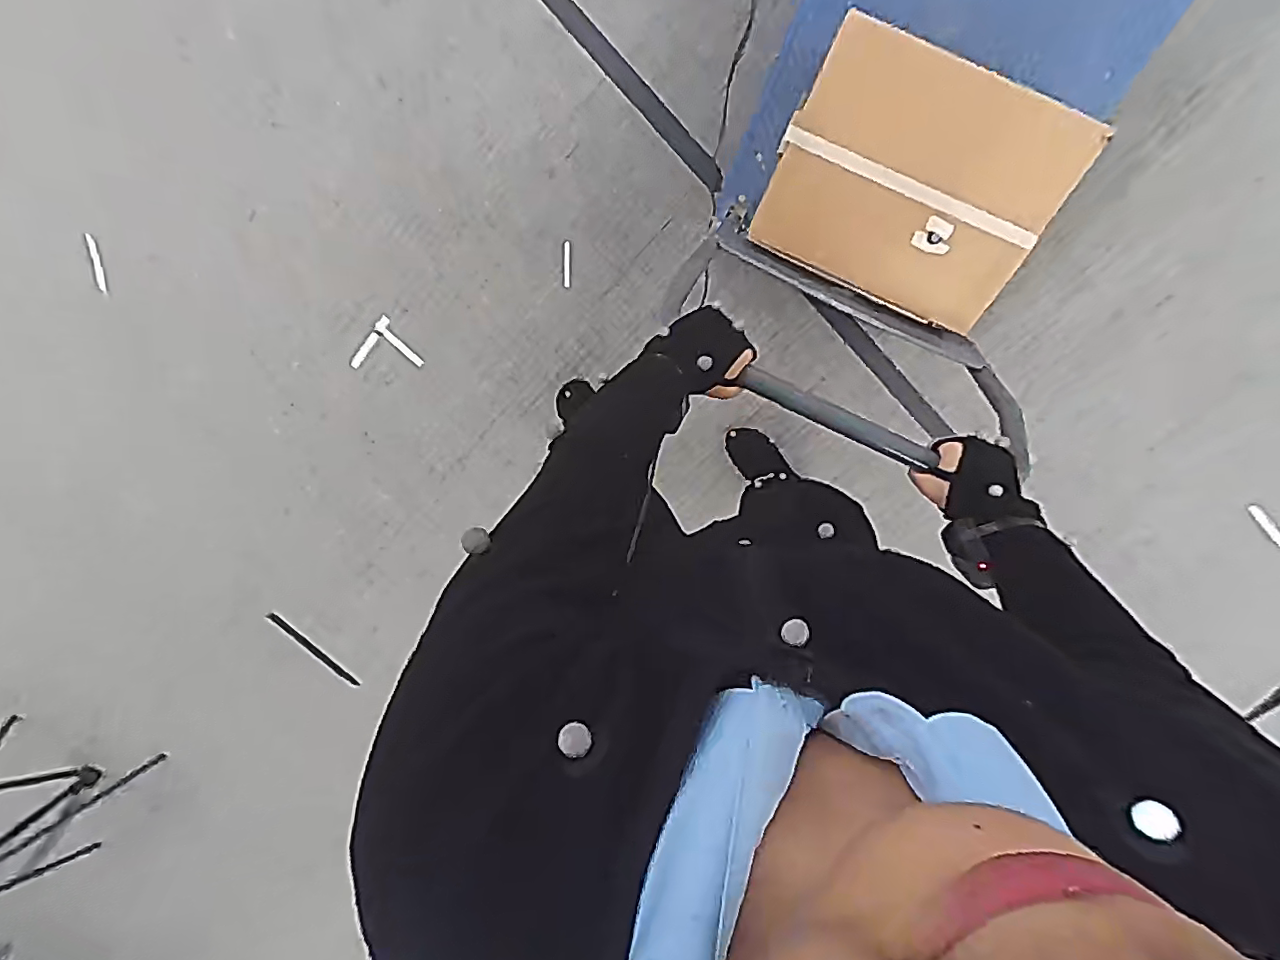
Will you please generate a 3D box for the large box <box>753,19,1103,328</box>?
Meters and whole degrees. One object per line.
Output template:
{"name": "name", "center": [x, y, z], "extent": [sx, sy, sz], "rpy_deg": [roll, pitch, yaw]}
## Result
{"name": "large box", "center": [0.453, -0.525, 0.966], "extent": [0.408, 0.320, 0.320], "rpy_deg": [25, 123, 0]}
